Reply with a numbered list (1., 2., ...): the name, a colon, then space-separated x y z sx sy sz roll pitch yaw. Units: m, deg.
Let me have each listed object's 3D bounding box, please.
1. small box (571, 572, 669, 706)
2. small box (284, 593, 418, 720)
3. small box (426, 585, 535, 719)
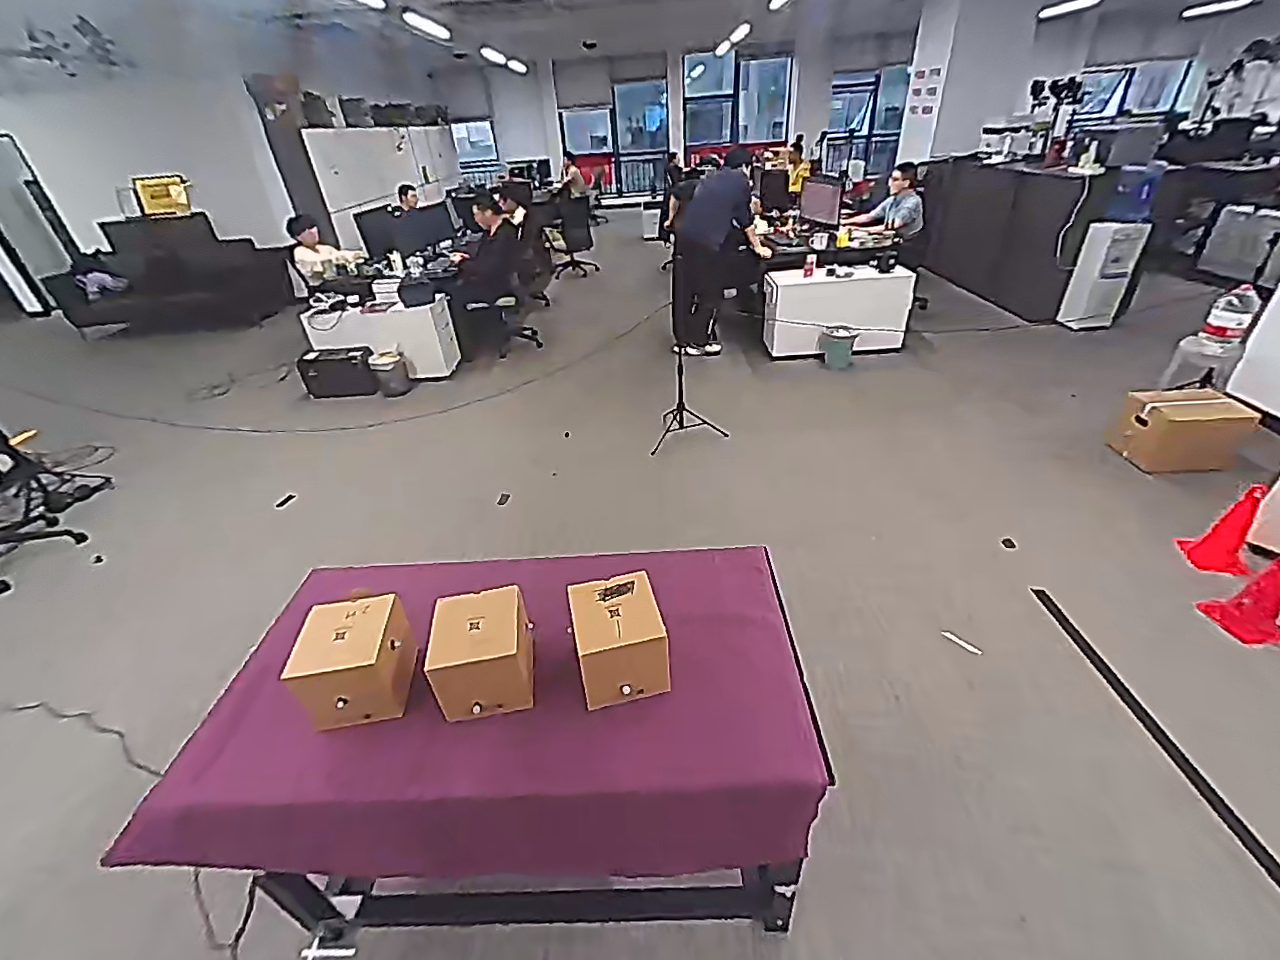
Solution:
1. small box: -0.041 0.315 1.082 0.168 0.176 0.179 -10 35 -8
2. small box: -0.560 0.356 1.079 0.168 0.176 0.179 -7 34 -5
3. small box: -0.307 0.340 1.077 0.168 0.176 0.179 -9 34 -5
